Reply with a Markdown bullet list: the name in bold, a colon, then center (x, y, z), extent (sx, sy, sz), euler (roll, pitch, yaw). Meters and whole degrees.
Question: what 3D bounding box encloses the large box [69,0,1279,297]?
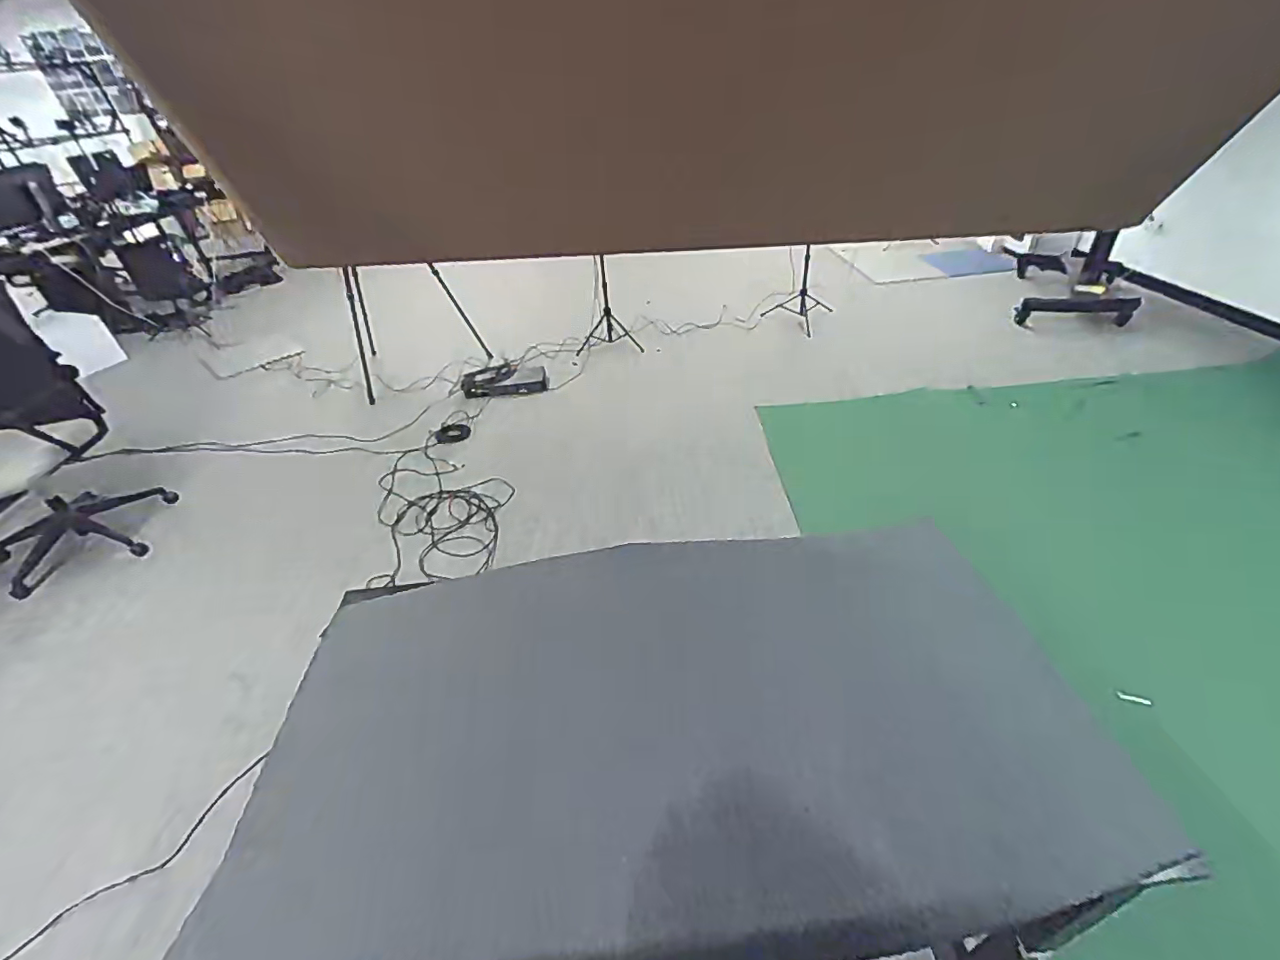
- **large box**: center (0.025, -0.295, 0.183), extent (0.408, 0.320, 0.320), euler (-4, 69, -3)
